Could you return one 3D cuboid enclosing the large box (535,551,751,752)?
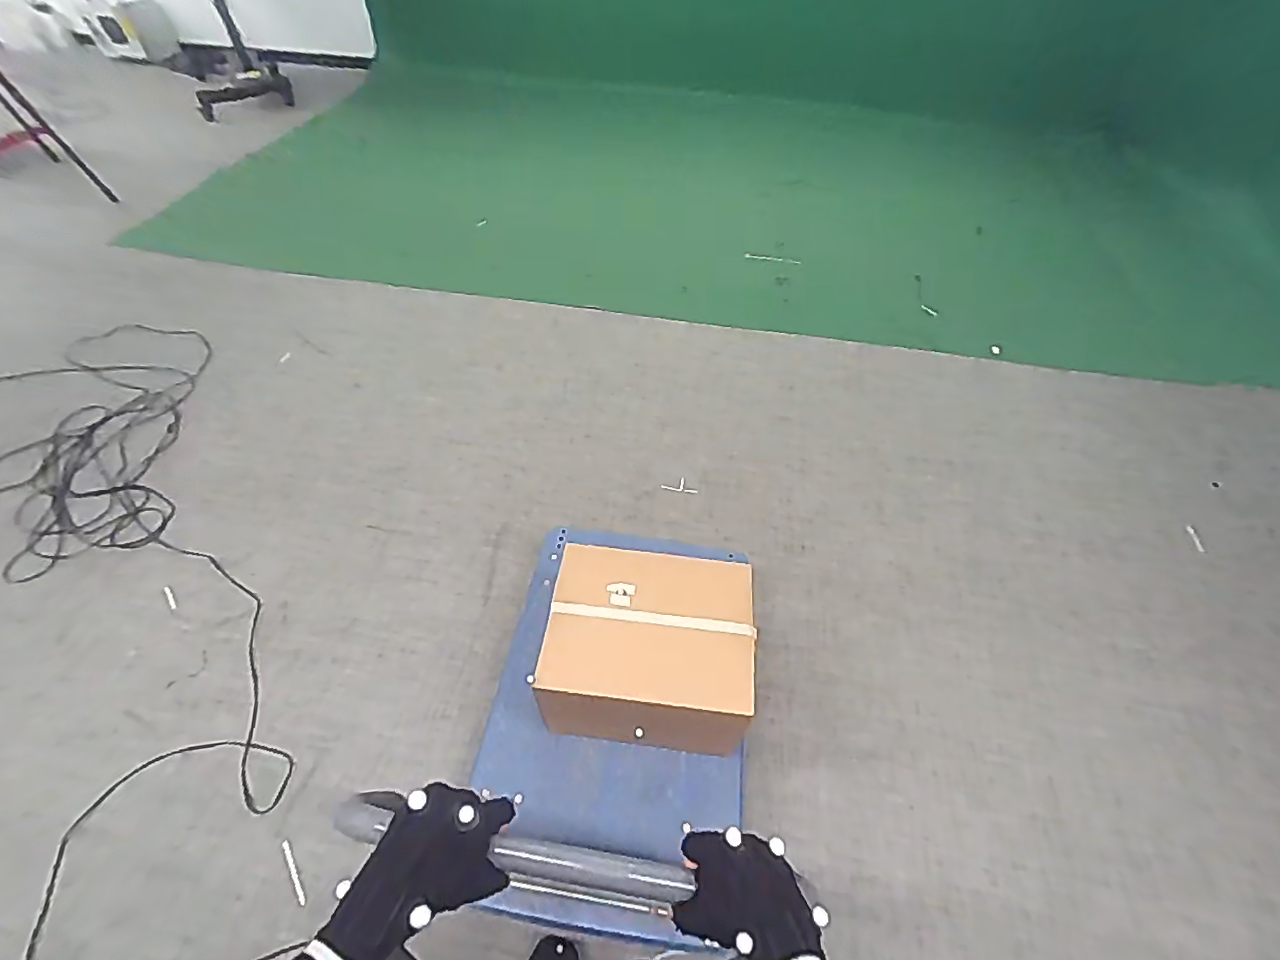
[{"bbox_3d":[0.019,0.382,1.189,0.408,0.320,0.320,6,50,4],"label":"large box"}]
